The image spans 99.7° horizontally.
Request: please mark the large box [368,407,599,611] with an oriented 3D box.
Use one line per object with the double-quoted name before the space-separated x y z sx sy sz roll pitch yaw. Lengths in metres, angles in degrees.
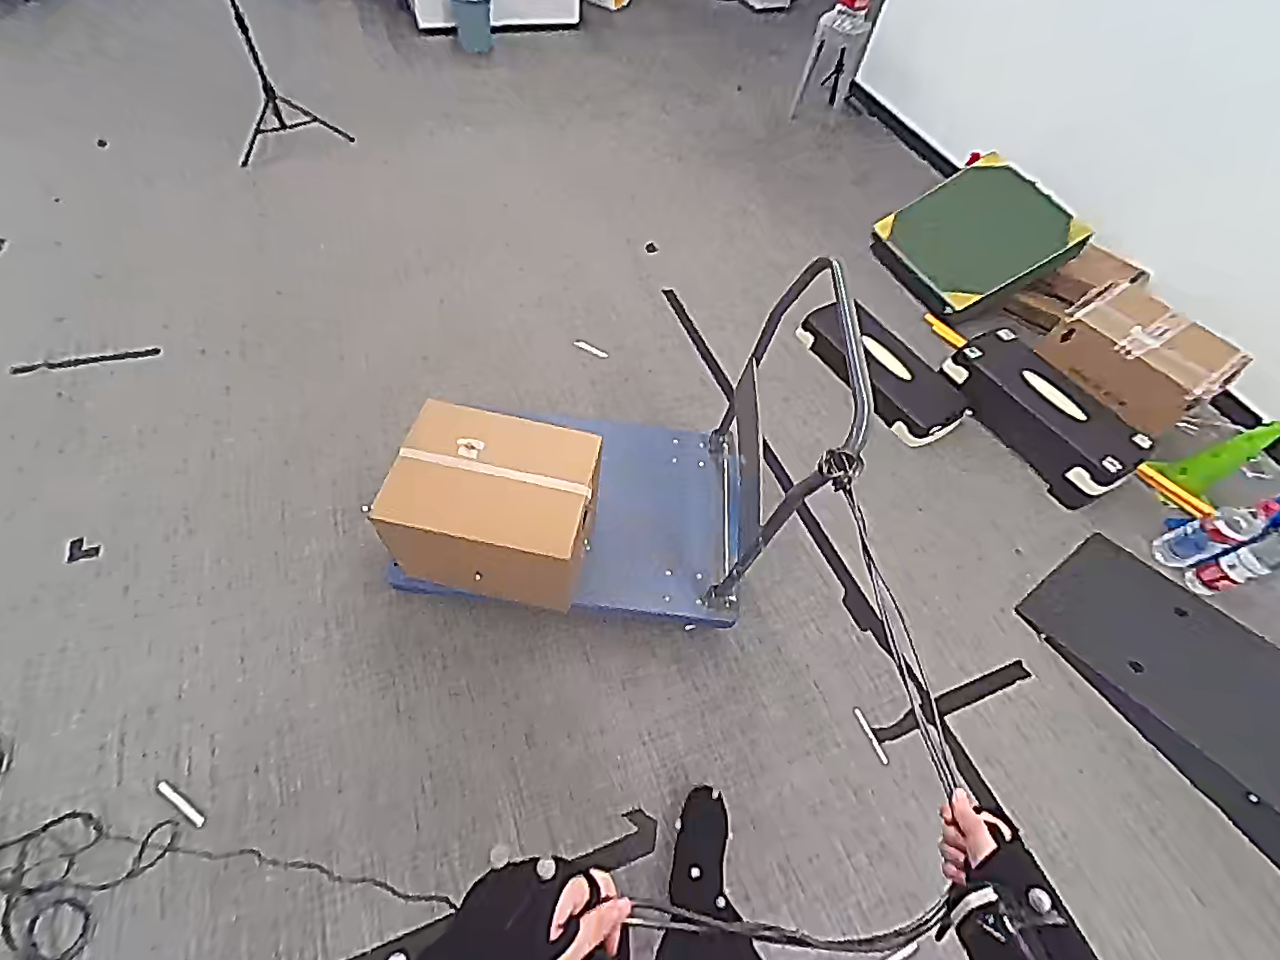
"large box" -0.320 0.077 1.243 0.408 0.320 0.320 11 56 1
